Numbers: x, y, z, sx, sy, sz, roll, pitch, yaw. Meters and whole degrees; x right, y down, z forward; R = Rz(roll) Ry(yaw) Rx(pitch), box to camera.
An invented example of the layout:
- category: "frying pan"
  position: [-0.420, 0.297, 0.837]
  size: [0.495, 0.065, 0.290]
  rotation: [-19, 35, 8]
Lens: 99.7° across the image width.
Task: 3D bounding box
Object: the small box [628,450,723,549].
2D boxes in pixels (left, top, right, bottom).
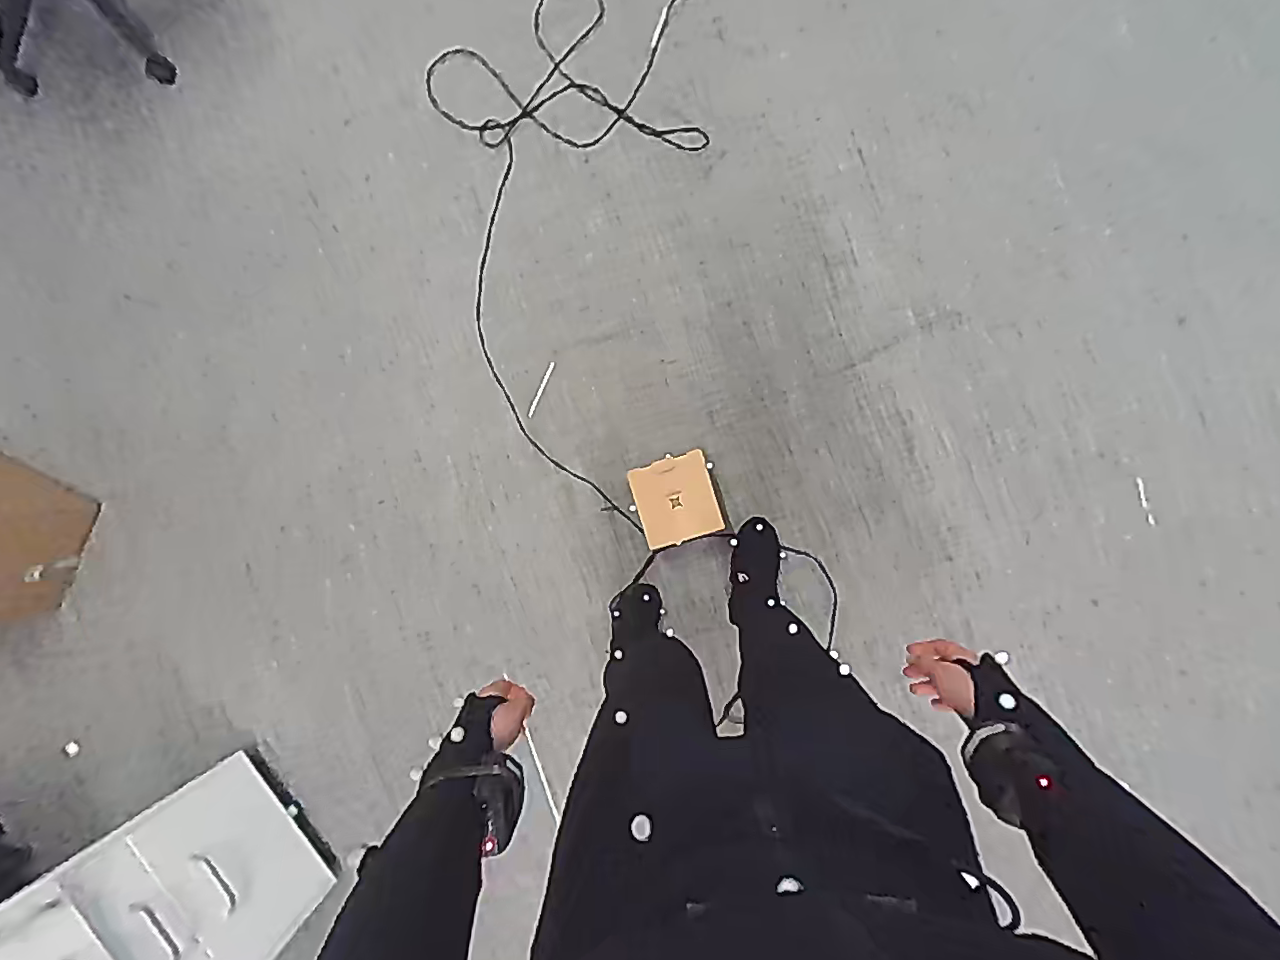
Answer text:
- category: "small box"
  position: [0.081, 0.039, 1.204]
  size: [0.168, 0.176, 0.179]
  rotation: [-17, 89, 4]
